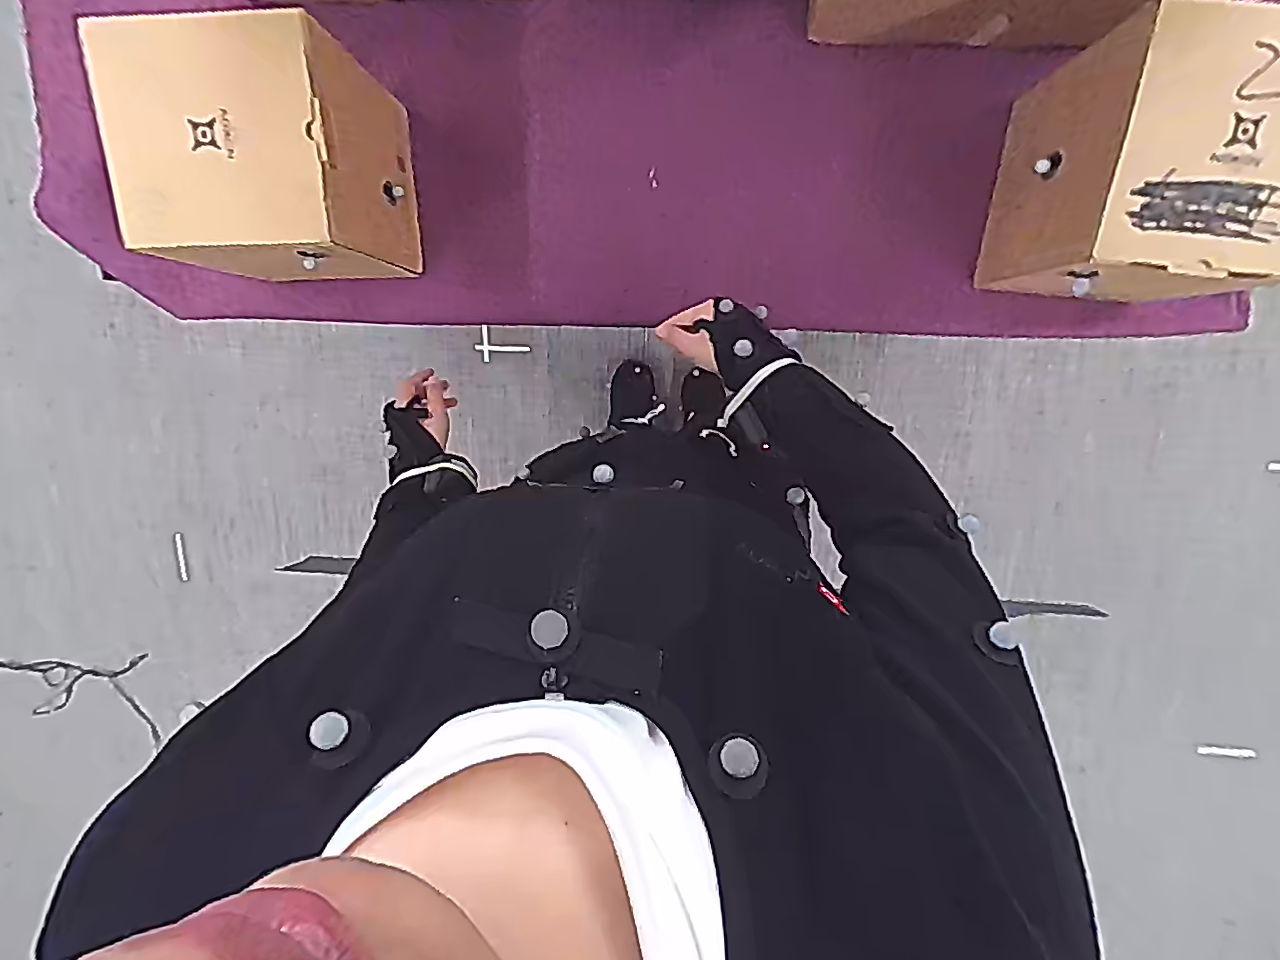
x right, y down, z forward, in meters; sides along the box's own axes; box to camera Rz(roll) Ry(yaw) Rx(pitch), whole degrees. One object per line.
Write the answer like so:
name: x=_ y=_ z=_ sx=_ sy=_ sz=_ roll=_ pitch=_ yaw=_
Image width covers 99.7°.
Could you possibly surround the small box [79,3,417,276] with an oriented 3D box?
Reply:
small box: x=-0.333 y=-0.288 z=0.499 sx=0.179 sy=0.176 sz=0.168 roll=-2 pitch=102 yaw=2
